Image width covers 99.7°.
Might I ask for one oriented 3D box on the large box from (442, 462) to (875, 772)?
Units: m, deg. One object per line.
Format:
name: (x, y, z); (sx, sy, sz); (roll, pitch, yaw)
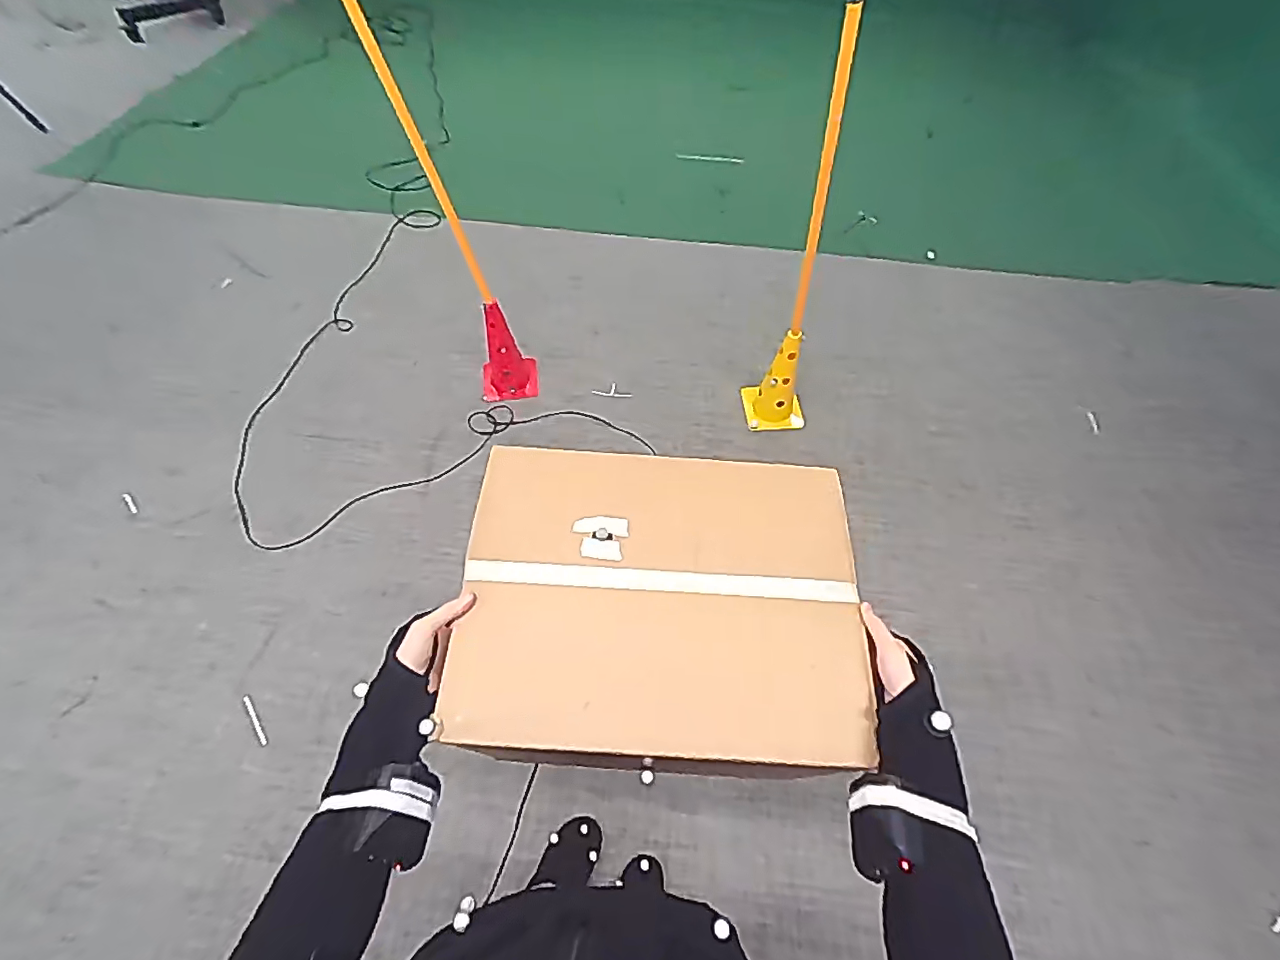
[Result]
large box: (0.020, 0.192, 0.693); (0.408, 0.320, 0.320); (3, 58, 0)
